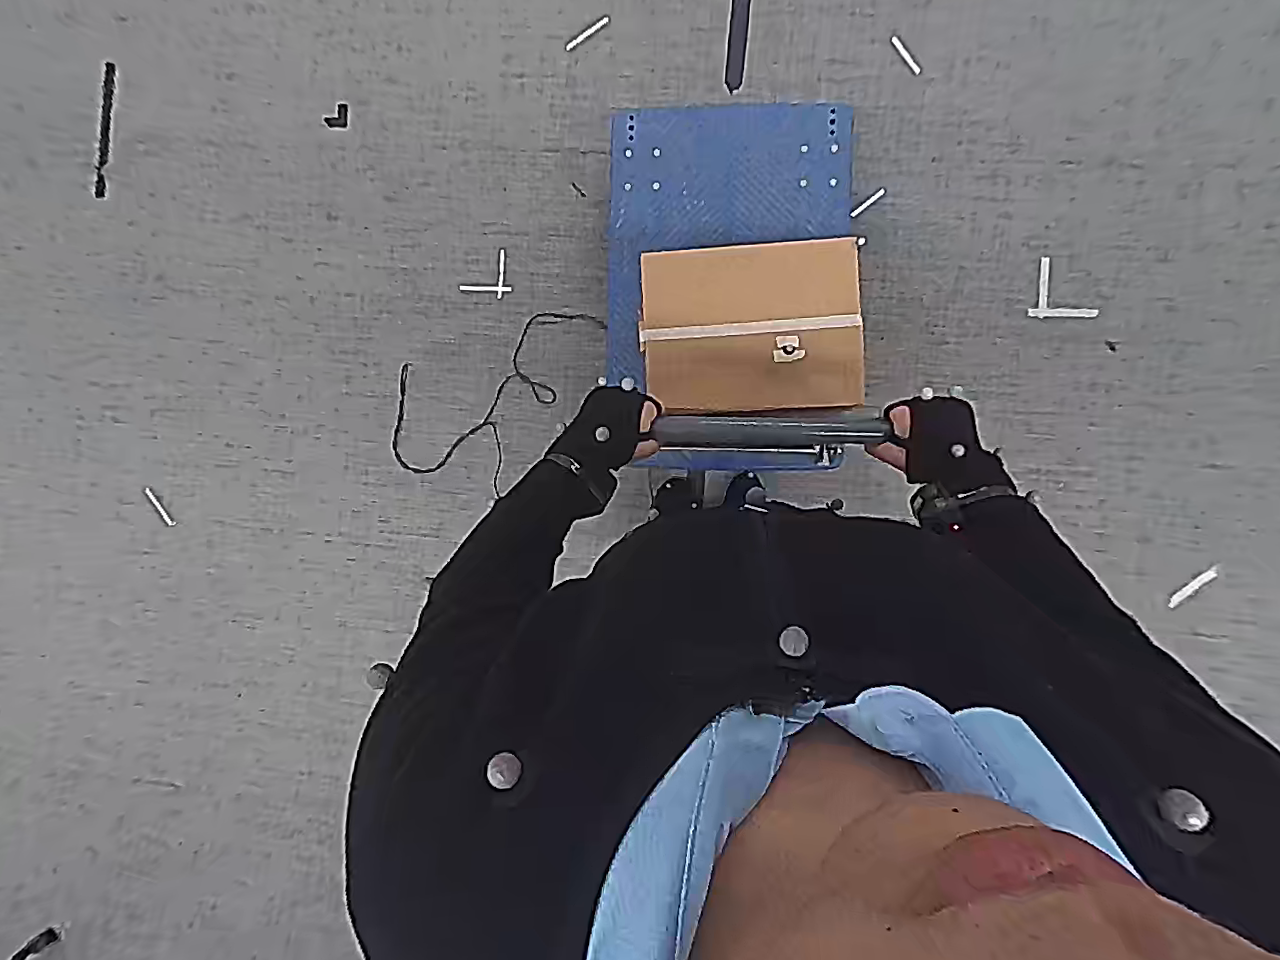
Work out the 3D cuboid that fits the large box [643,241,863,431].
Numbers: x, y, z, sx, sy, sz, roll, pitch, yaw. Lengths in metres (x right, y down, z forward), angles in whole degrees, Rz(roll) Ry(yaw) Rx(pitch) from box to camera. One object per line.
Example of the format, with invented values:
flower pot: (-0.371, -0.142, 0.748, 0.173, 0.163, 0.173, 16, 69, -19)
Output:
large box: (0.220, -0.284, 1.173, 0.408, 0.320, 0.320, -3, 92, 3)
